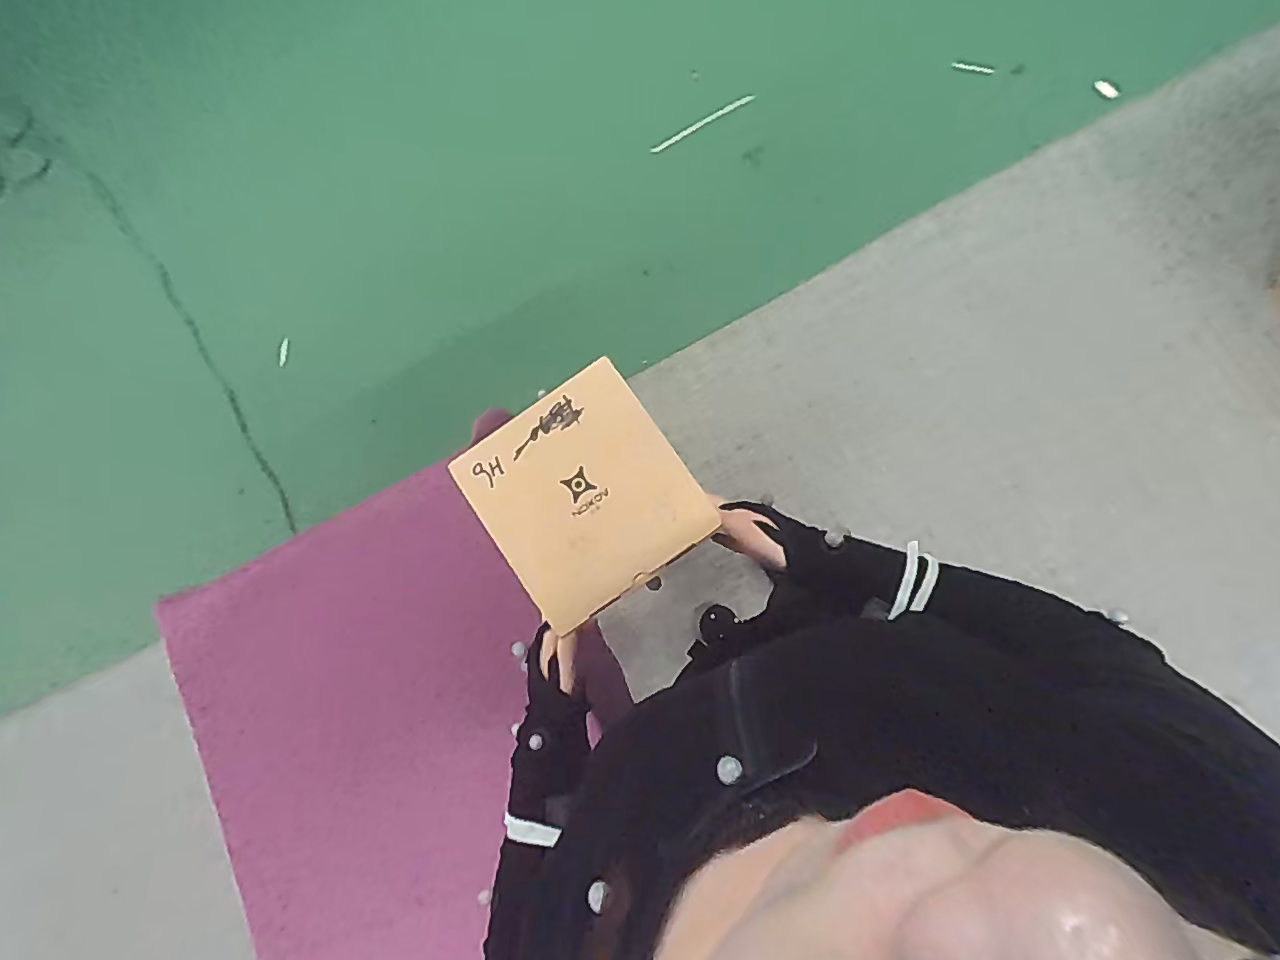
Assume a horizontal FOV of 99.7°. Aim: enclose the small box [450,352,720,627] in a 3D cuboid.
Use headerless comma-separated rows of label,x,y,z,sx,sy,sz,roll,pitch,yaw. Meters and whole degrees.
small box,-0.041,0.011,0.524,0.168,0.176,0.179,-33,84,0
